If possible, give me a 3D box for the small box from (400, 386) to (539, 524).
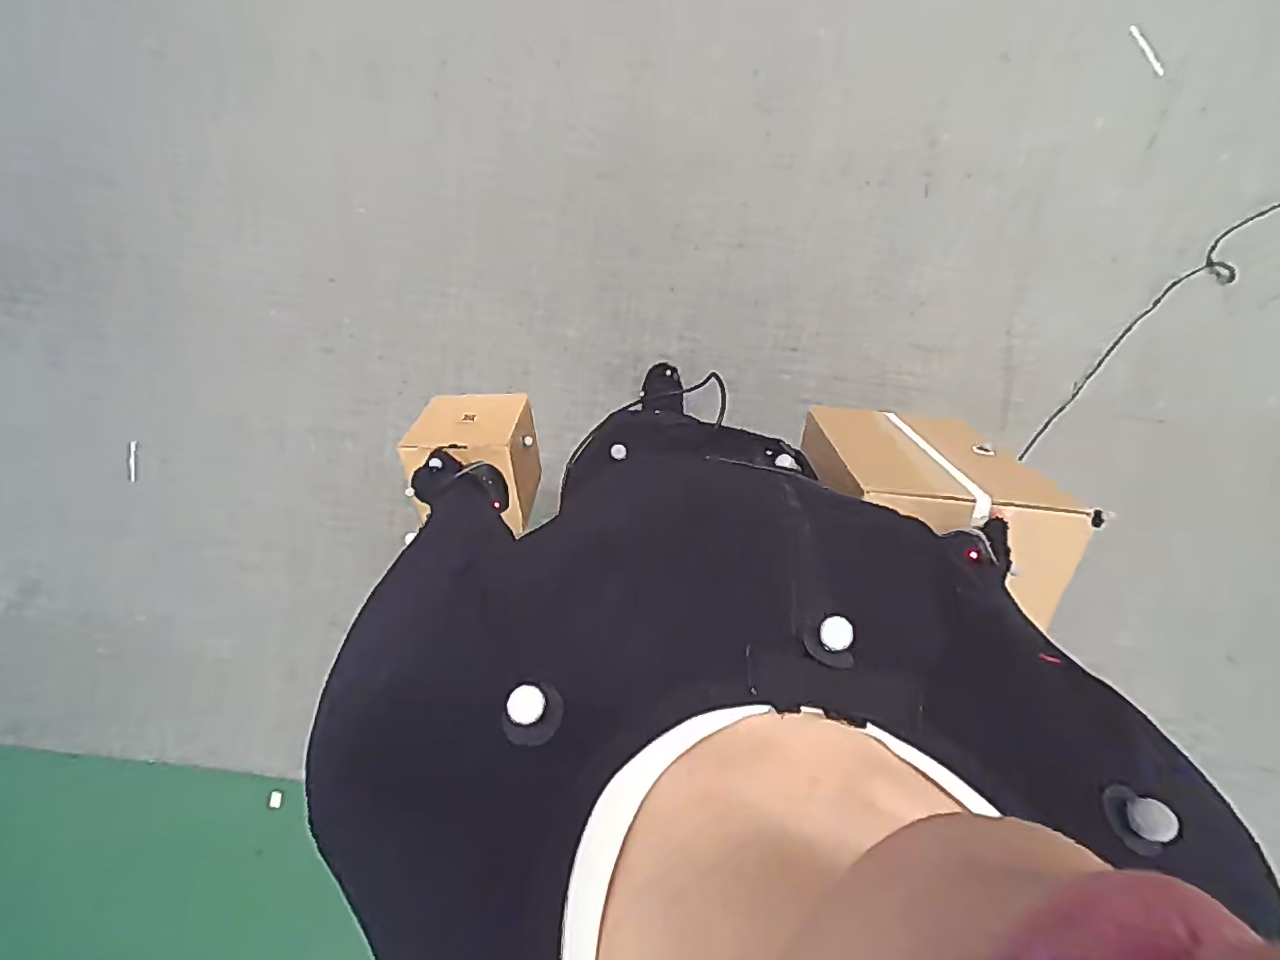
[{"bbox_3d":[-0.270,-0.045,0.907,0.168,0.179,0.176,-1,126,2],"label":"small box"}]
